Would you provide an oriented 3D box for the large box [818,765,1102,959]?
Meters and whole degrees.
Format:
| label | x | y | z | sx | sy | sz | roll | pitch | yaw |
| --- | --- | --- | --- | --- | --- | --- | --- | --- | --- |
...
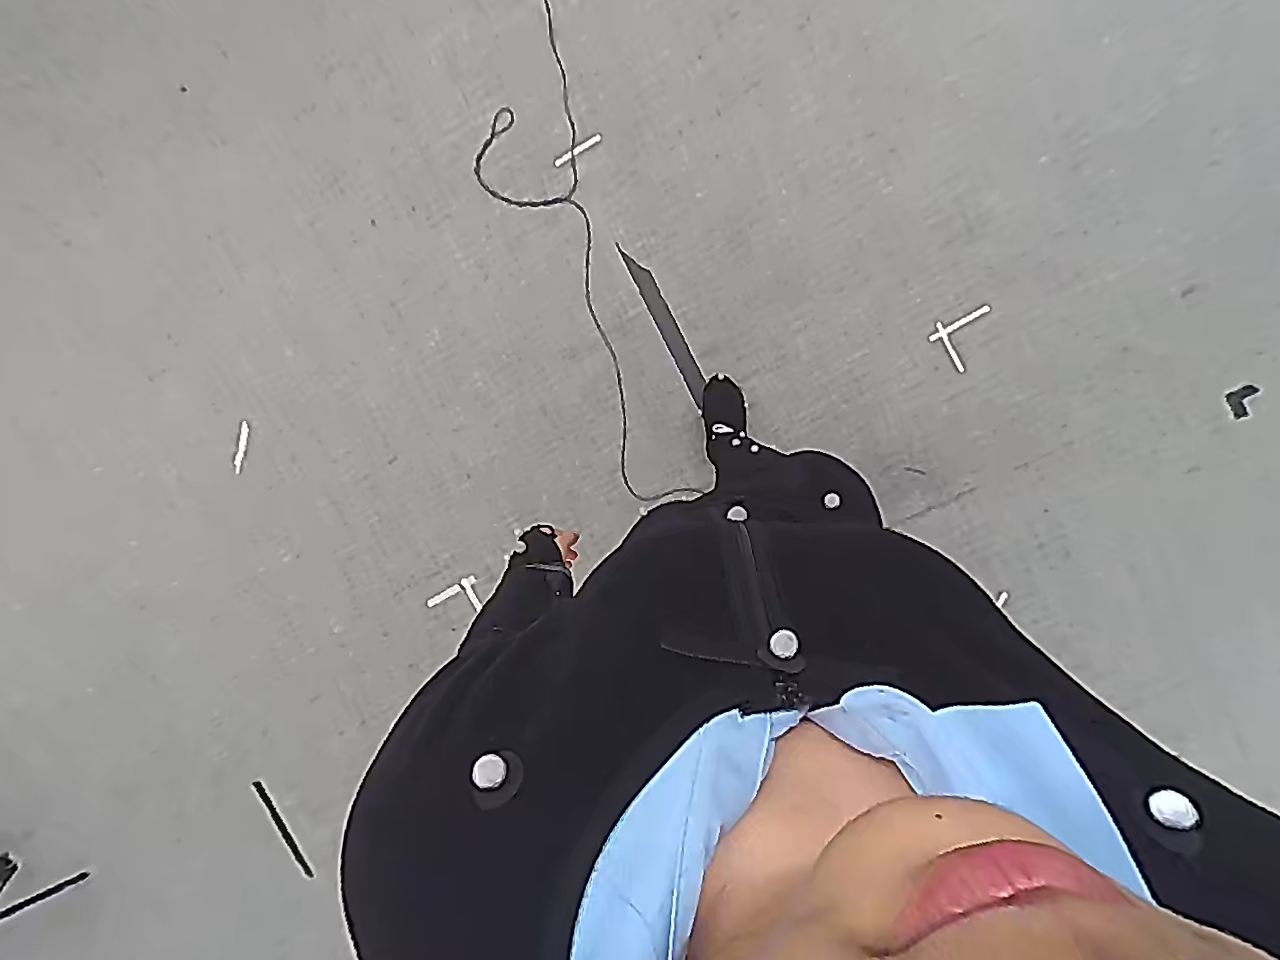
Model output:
| label | x | y | z | sx | sy | sz | roll | pitch | yaw |
| --- | --- | --- | --- | --- | --- | --- | --- | --- | --- |
| large box | 0.650 | 0.883 | 1.145 | 0.408 | 0.320 | 0.320 | -23 | 92 | 9 |
